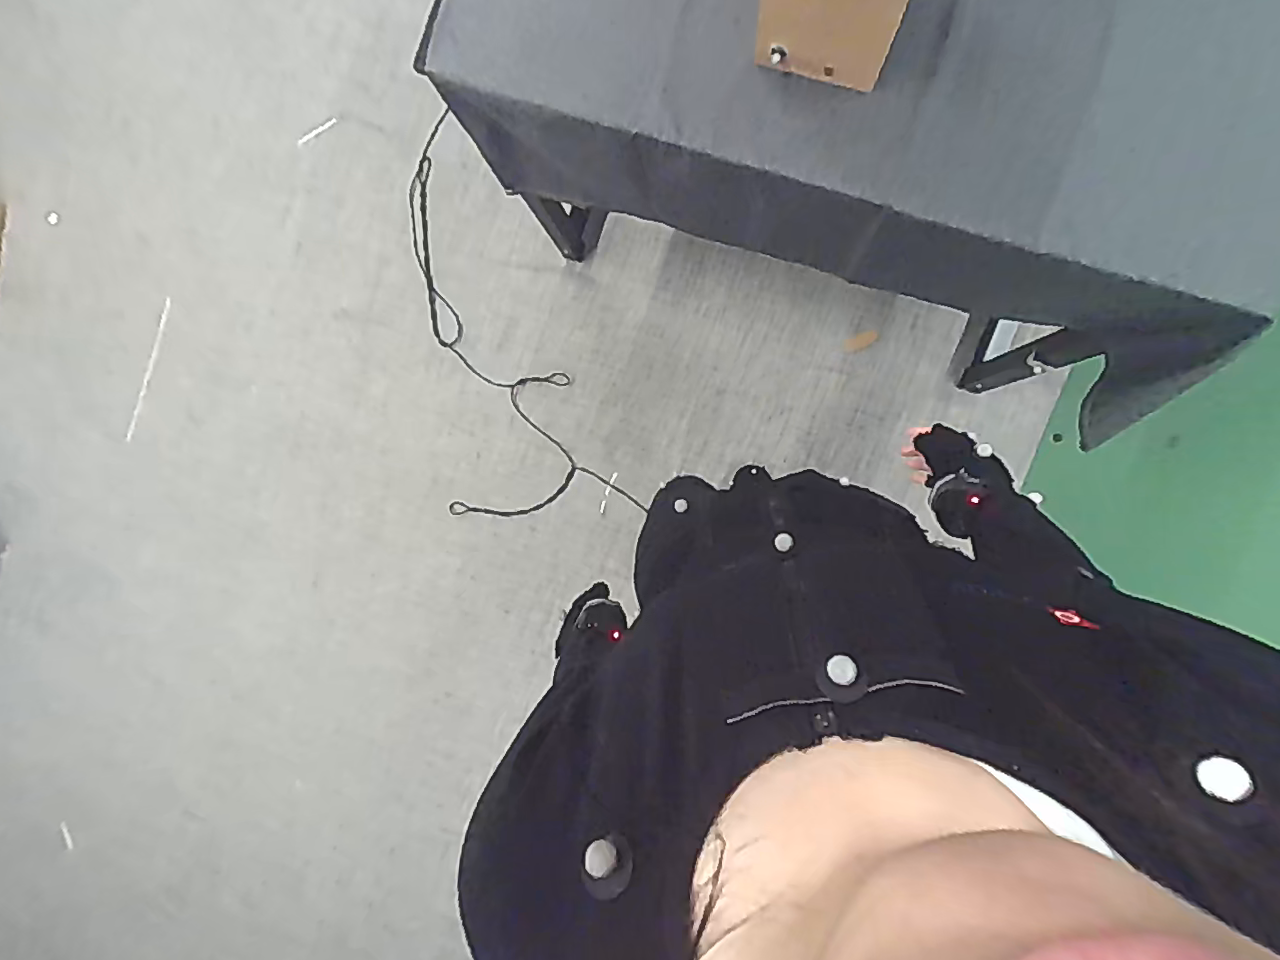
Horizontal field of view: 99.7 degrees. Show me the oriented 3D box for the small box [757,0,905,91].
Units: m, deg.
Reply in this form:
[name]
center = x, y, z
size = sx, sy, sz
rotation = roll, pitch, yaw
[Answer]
[small box]
center = 0.248, -0.625, 0.657
size = 0.168, 0.176, 0.179
rotation = 20, 92, 7
